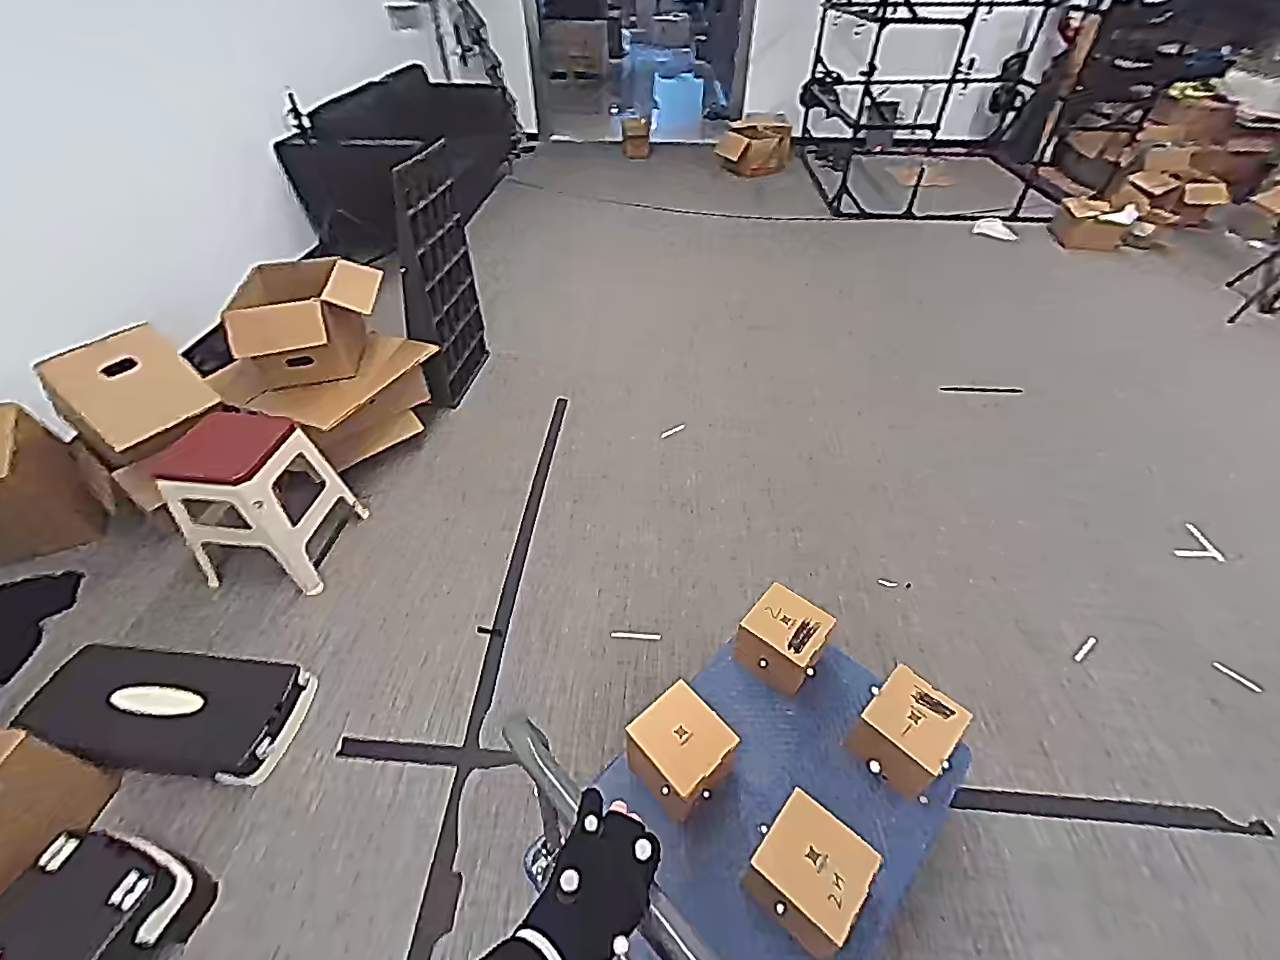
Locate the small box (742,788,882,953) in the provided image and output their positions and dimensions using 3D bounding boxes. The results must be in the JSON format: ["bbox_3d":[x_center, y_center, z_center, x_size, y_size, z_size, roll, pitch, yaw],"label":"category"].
[{"bbox_3d":[0.308,0.725,1.003,0.179,0.176,0.168,32,52,29],"label":"small box"}]

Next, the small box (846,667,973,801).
[{"bbox_3d":[0.581,0.555,1.185,0.179,0.176,0.168,-33,53,-29],"label":"small box"}]

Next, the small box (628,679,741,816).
[{"bbox_3d":[0.088,0.576,1.159,0.168,0.176,0.179,-31,53,-29],"label":"small box"}]
